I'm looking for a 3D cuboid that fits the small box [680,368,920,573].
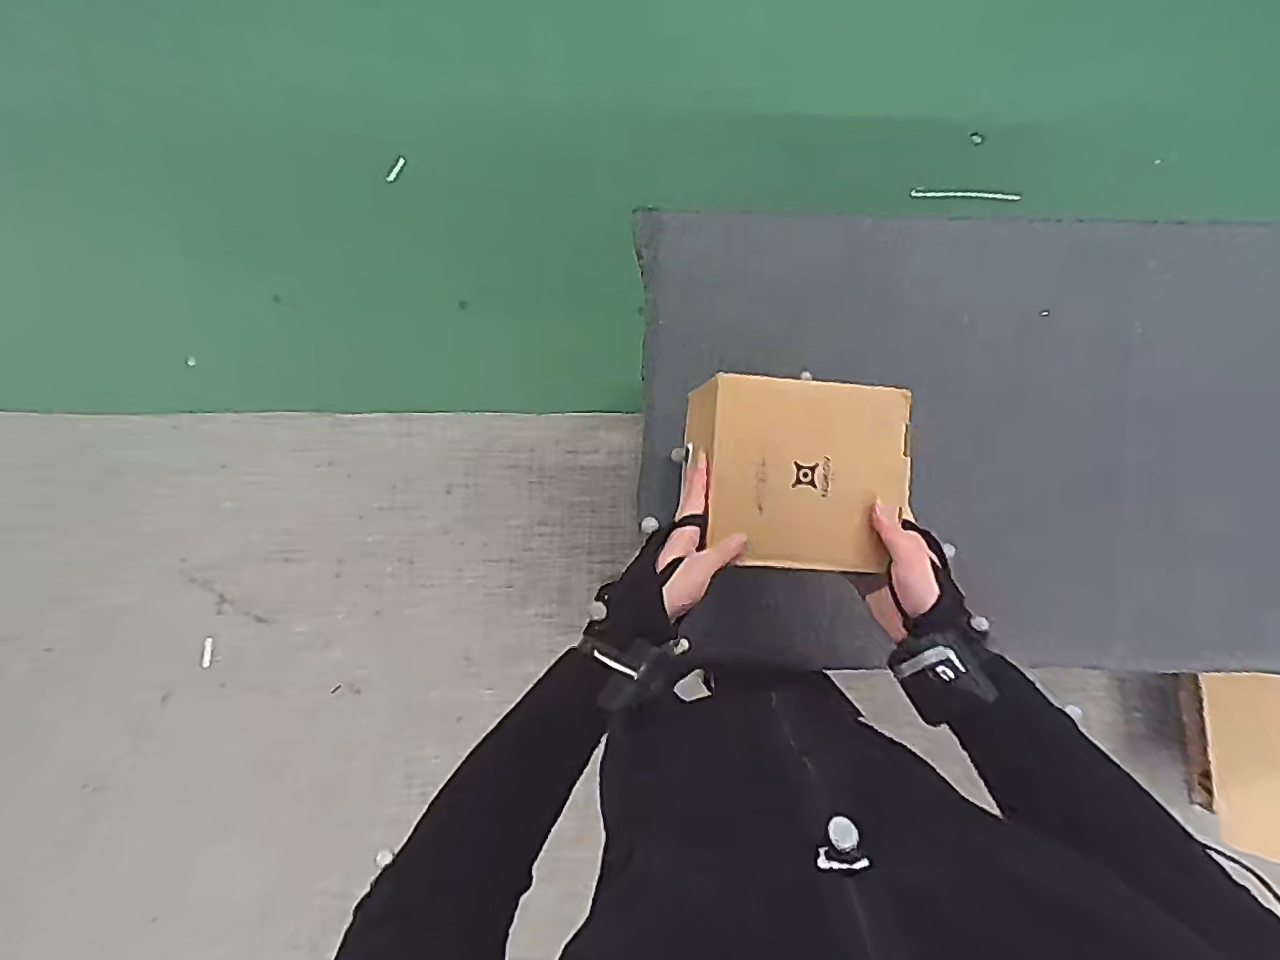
[{"bbox_3d":[0.141,-0.010,0.535,0.179,0.176,0.168,3,92,-3],"label":"small box"}]
